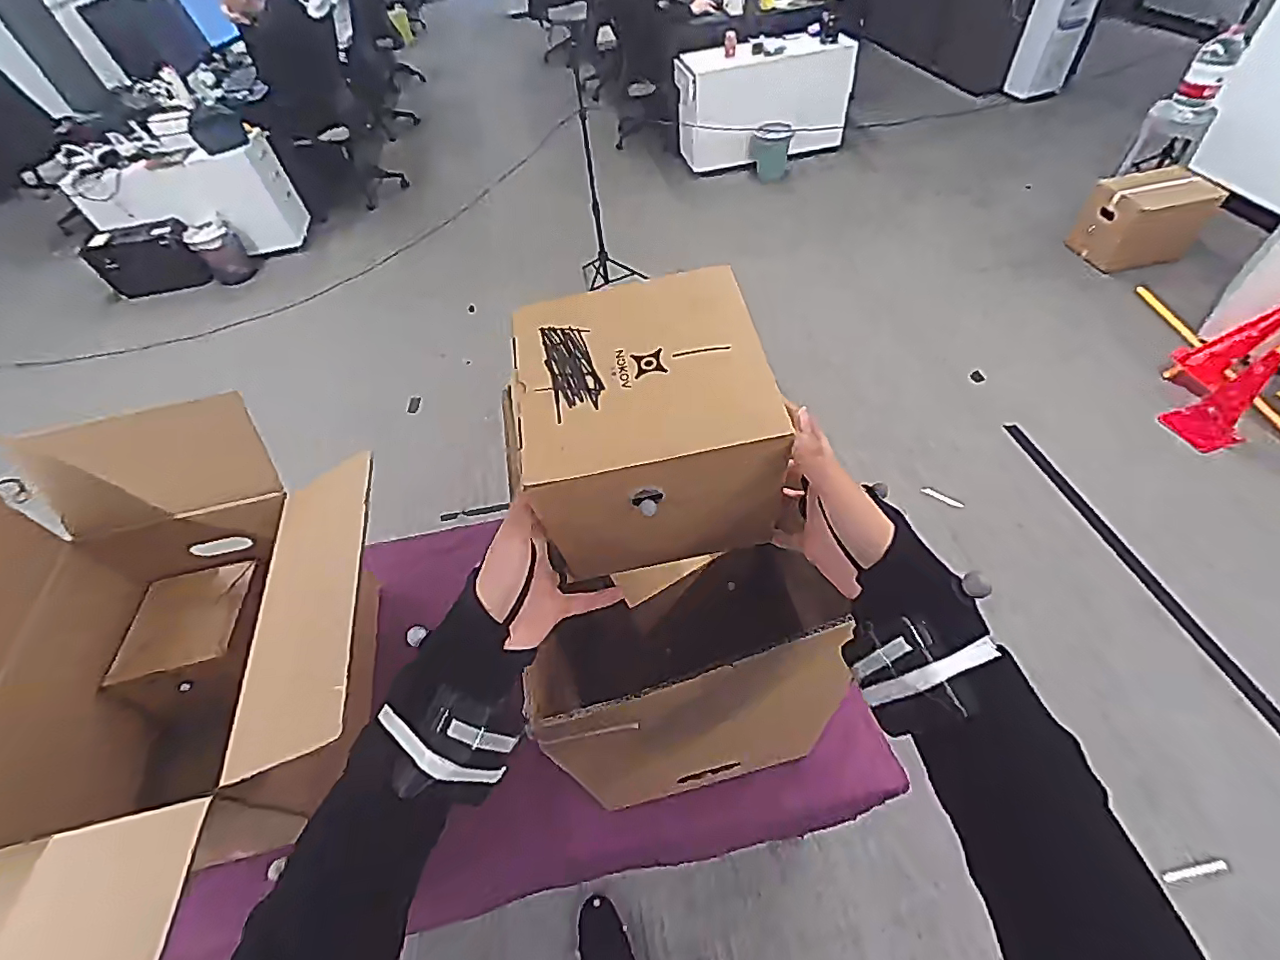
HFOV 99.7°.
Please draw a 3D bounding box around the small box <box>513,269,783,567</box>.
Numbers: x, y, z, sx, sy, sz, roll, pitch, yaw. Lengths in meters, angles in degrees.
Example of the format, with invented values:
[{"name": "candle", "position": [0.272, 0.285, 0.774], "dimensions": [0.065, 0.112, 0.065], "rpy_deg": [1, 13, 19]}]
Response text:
[{"name": "small box", "position": [0.005, -0.041, 0.453], "dimensions": [0.179, 0.176, 0.168], "rpy_deg": [-11, 59, 0]}]
